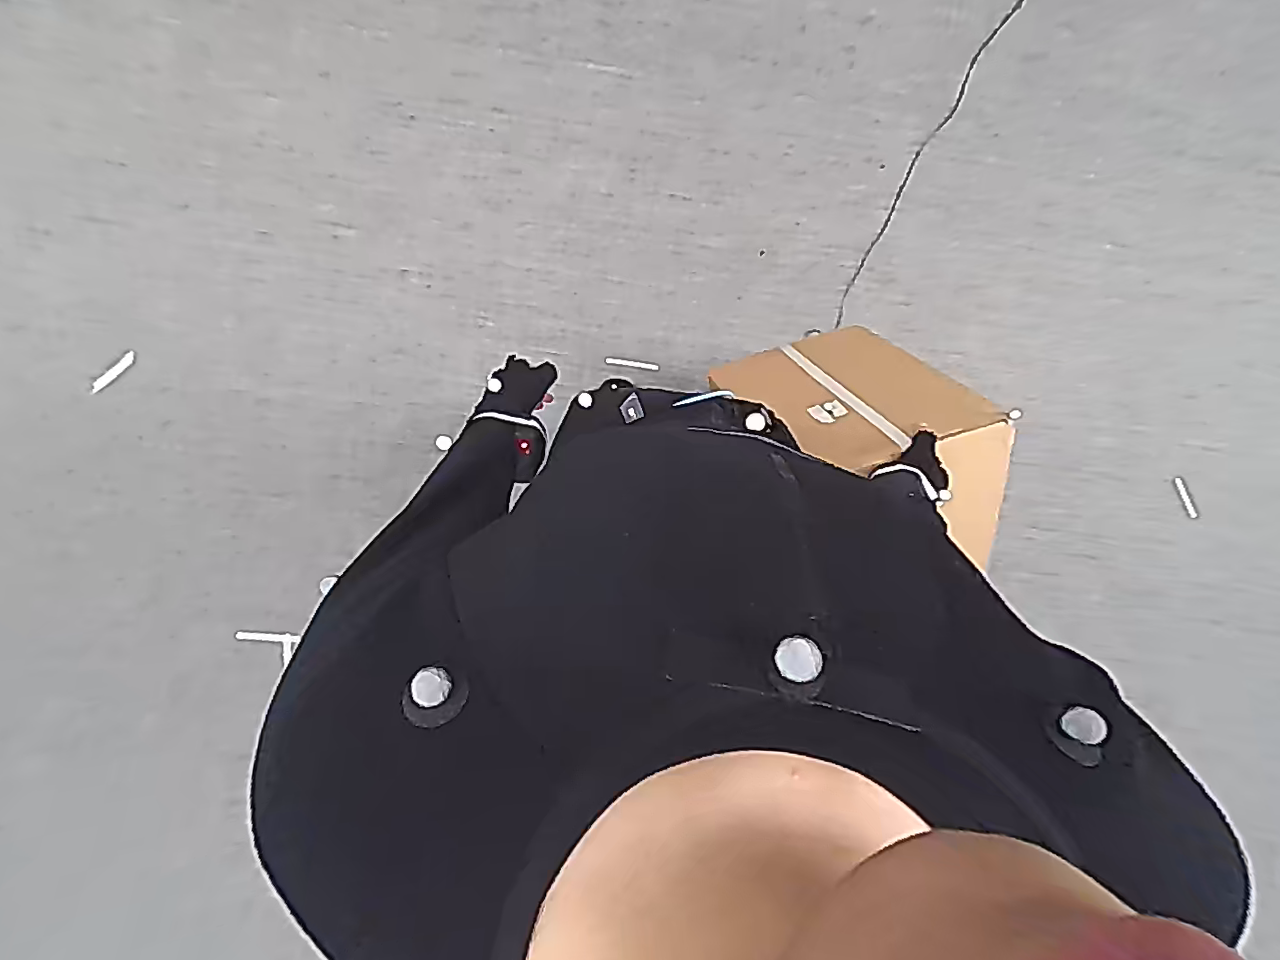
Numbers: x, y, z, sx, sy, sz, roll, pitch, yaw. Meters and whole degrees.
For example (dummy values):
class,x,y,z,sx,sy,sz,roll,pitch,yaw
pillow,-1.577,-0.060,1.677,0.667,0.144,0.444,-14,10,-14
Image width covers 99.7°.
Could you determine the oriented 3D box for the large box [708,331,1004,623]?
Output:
class,x,y,z,sx,sy,sz,roll,pitch,yaw
large box,0.344,-0.024,0.978,0.320,0.408,0.320,-17,126,-1
